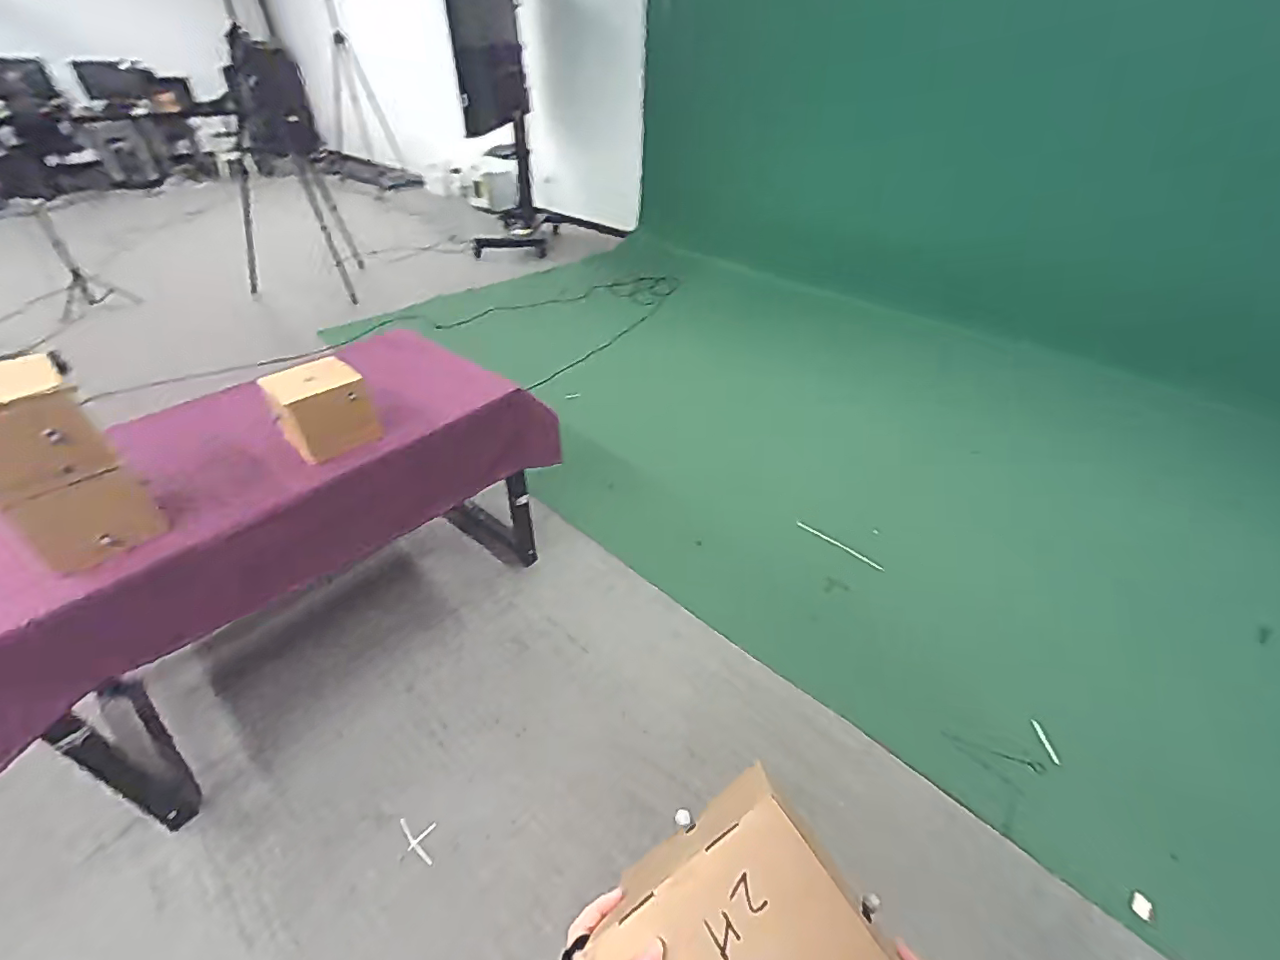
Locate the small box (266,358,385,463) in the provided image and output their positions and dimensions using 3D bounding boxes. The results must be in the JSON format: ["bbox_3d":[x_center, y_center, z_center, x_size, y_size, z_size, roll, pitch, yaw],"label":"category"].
[{"bbox_3d":[-0.749,-0.166,1.302,0.168,0.176,0.179,31,47,32],"label":"small box"}]

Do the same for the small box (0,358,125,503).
[{"bbox_3d":[-1.044,-0.083,0.932,0.179,0.176,0.168,31,47,33],"label":"small box"}]

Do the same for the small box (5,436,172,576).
[{"bbox_3d":[-1.043,0.047,1.031,0.168,0.176,0.179,29,46,31],"label":"small box"}]
